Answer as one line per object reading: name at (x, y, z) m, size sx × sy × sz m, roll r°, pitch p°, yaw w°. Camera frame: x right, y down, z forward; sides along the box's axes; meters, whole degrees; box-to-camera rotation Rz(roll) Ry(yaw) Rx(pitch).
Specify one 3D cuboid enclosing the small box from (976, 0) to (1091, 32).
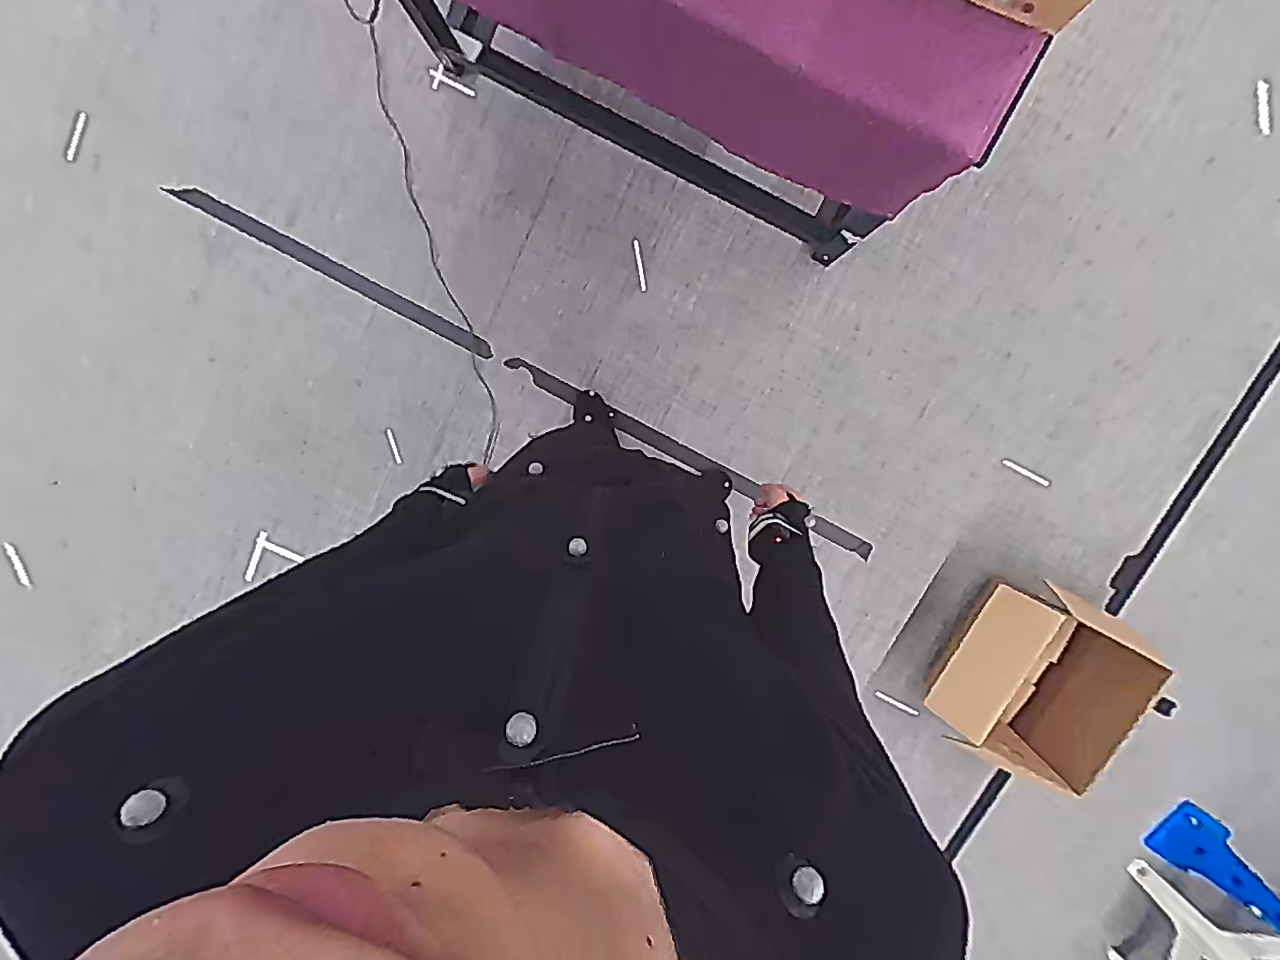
small box at (0.535, -0.720, 0.662) m, size 0.168 × 0.176 × 0.179 m, roll 22°, pitch 99°, yaw 0°
